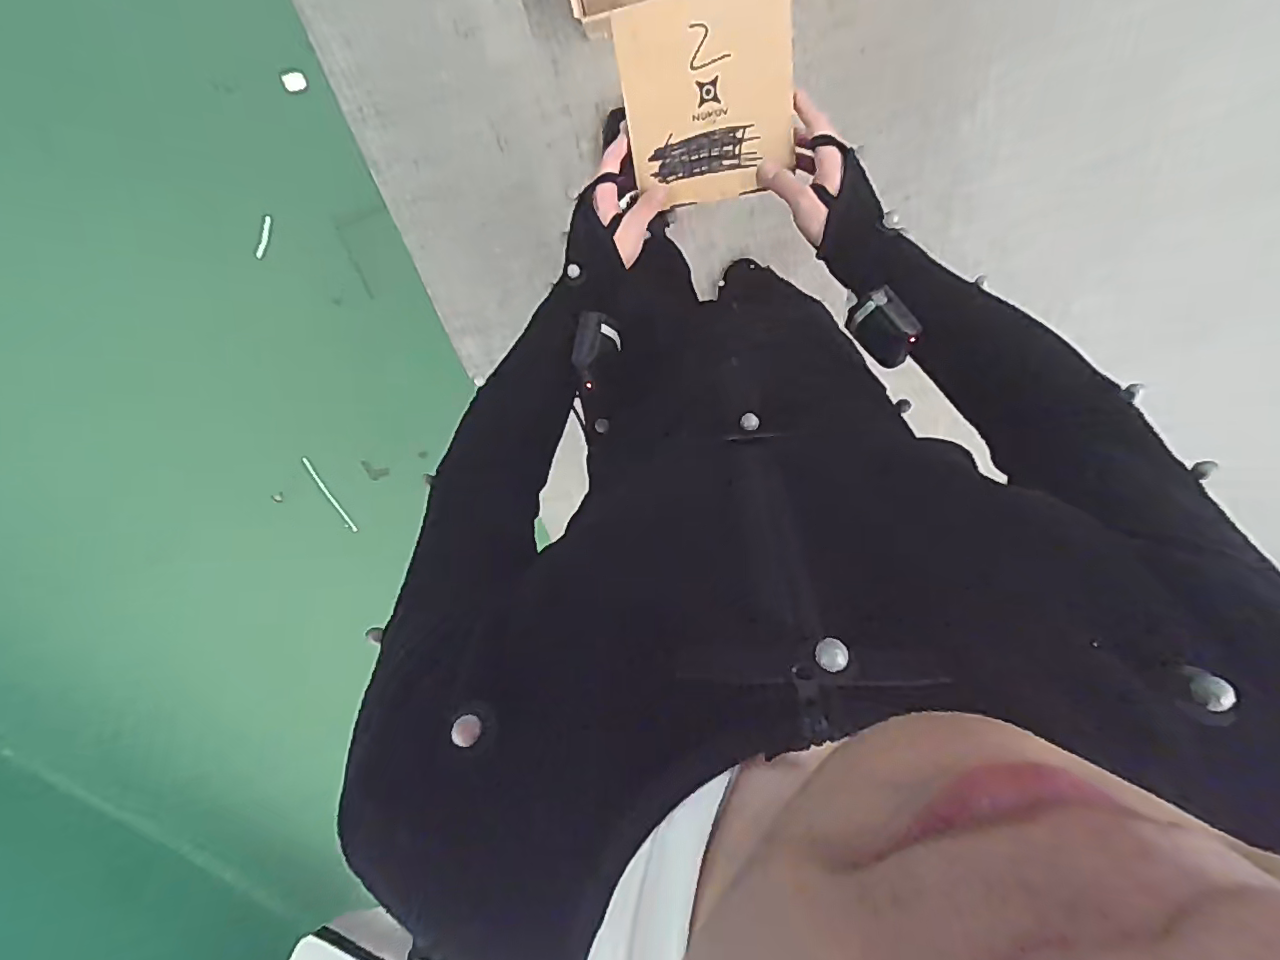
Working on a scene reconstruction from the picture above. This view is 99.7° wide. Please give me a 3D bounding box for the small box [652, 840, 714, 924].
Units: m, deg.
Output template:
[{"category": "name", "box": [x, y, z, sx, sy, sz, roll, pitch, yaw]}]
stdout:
[{"category": "small box", "box": [0.135, 1.267, 1.707, 0.168, 0.176, 0.179, -12, 125, 7]}]
